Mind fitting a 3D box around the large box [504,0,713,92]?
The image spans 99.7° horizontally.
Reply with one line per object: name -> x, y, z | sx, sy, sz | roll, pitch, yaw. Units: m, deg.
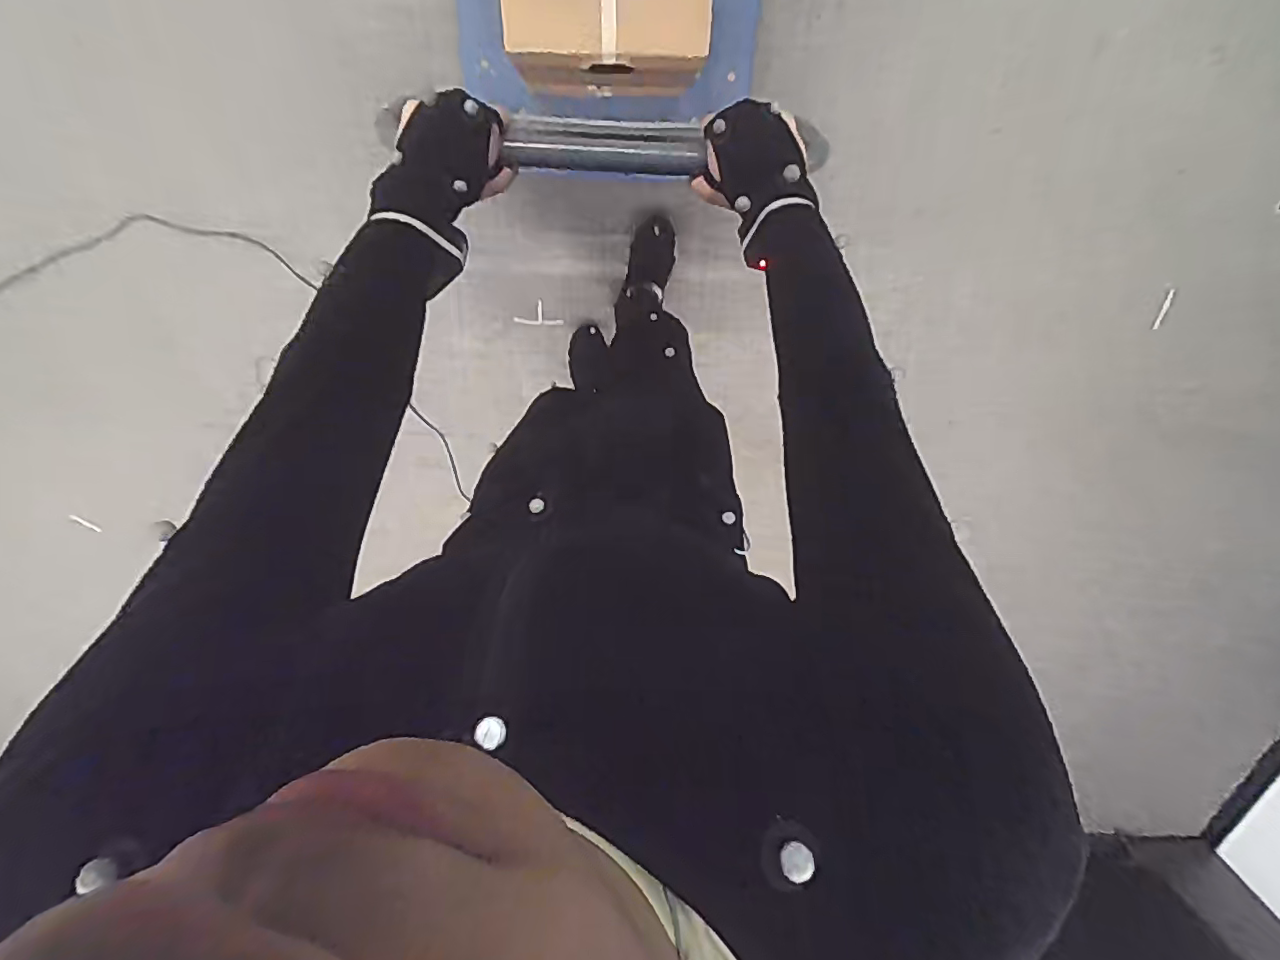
large box -> -0.051, -0.898, 0.874 | 0.320, 0.320, 0.408 | -1, 117, -2
